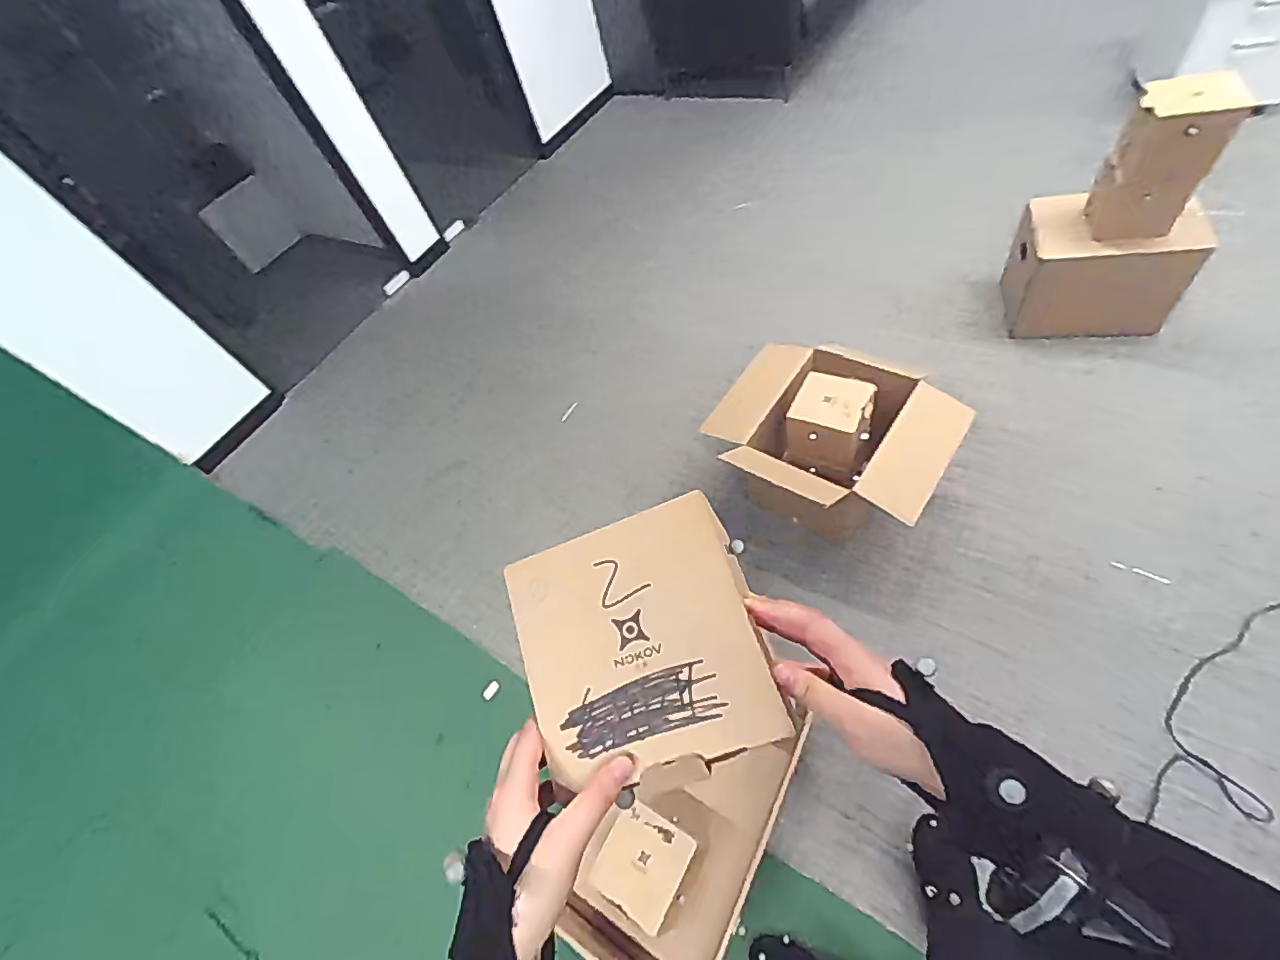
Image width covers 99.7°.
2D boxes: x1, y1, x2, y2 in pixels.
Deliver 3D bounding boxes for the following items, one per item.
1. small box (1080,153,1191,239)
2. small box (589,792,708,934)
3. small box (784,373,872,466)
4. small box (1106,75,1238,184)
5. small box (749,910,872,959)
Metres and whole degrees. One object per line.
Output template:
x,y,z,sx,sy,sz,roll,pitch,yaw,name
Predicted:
1.370,-0.798,1.513,0.179,0.176,0.168,4,59,19,small box
0.028,0.788,1.122,0.168,0.176,0.179,20,63,29,small box
0.510,-0.162,1.475,0.179,0.176,0.168,20,66,28,small box
1.342,-0.885,1.378,0.179,0.176,0.168,4,59,20,small box
0.322,0.919,0.978,0.176,0.168,0.179,7,28,-12,small box
